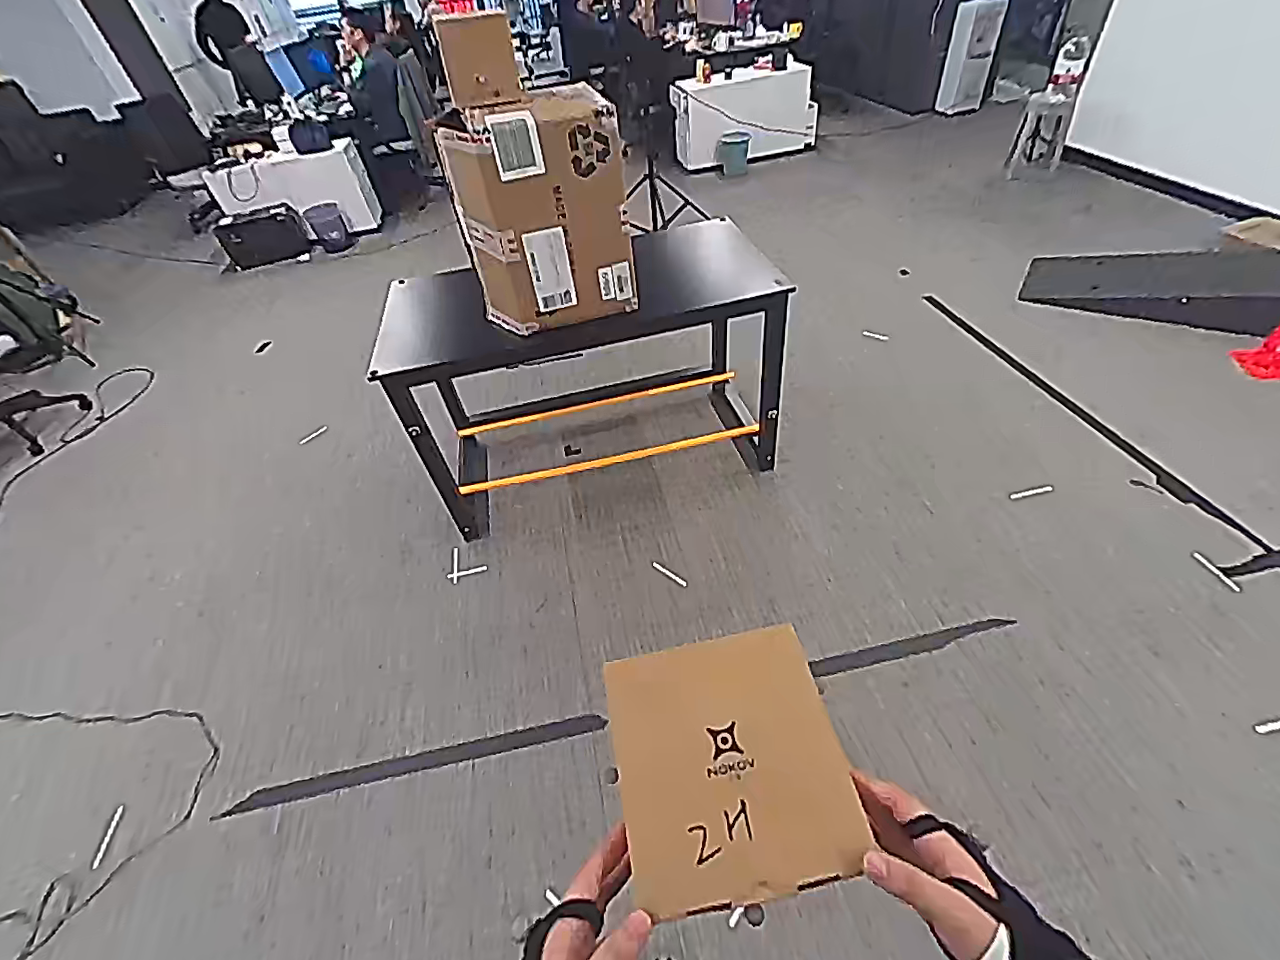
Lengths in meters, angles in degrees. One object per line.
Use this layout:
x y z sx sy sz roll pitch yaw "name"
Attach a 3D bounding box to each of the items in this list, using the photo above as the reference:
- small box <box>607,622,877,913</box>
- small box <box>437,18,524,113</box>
0.071 0.251 0.469 0.168 0.176 0.179 -11 51 -2 "small box"
-0.390 -1.015 1.326 0.168 0.176 0.179 -15 43 -10 "small box"
